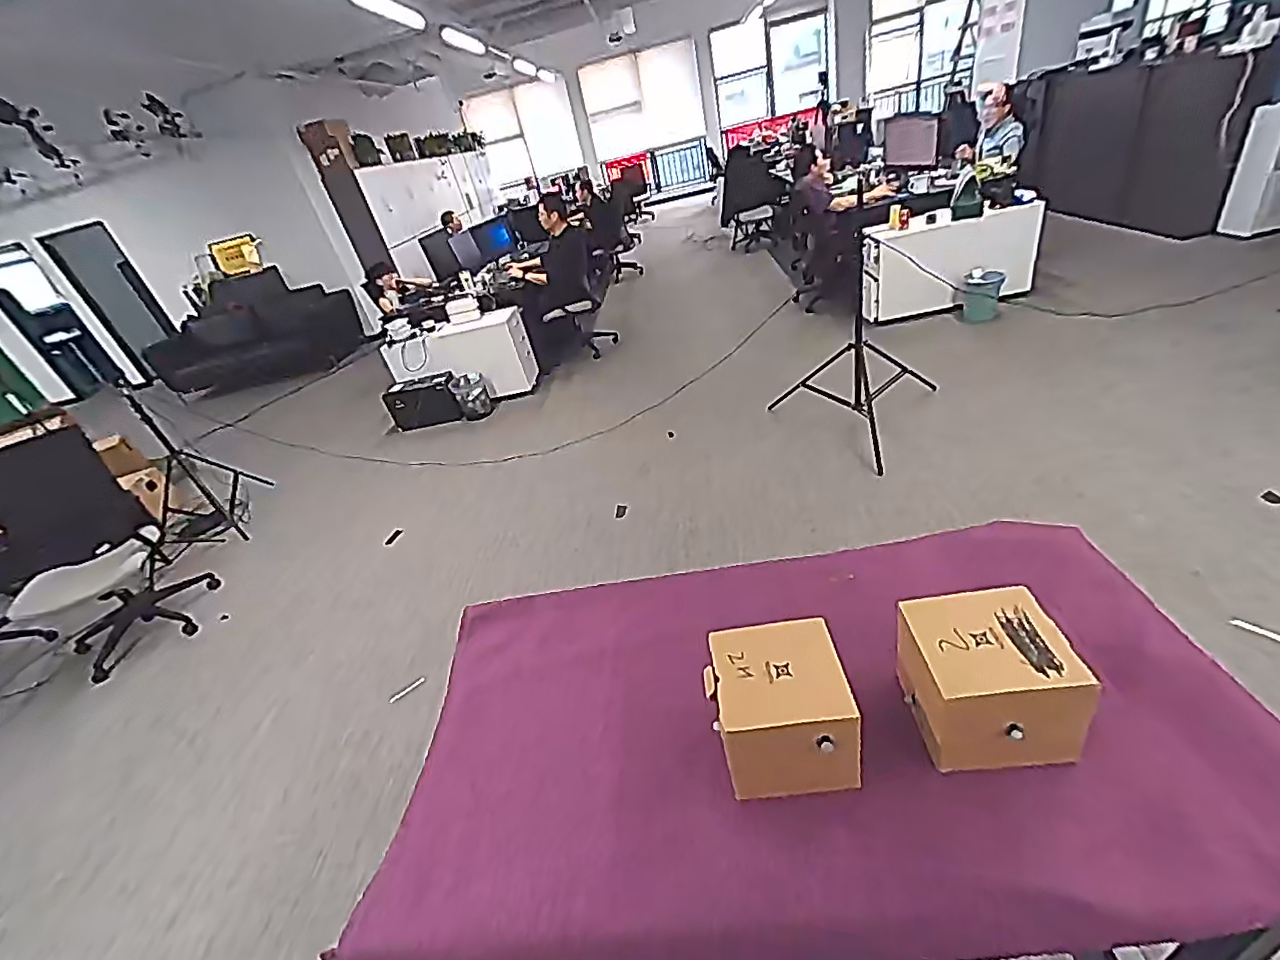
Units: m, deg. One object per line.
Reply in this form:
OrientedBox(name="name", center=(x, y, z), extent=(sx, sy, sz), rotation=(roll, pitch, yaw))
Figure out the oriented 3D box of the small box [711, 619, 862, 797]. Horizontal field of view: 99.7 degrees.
OrientedBox(name="small box", center=(0.207, 0.330, 0.786), extent=(0.179, 0.176, 0.168), rotation=(-11, 31, 7))
